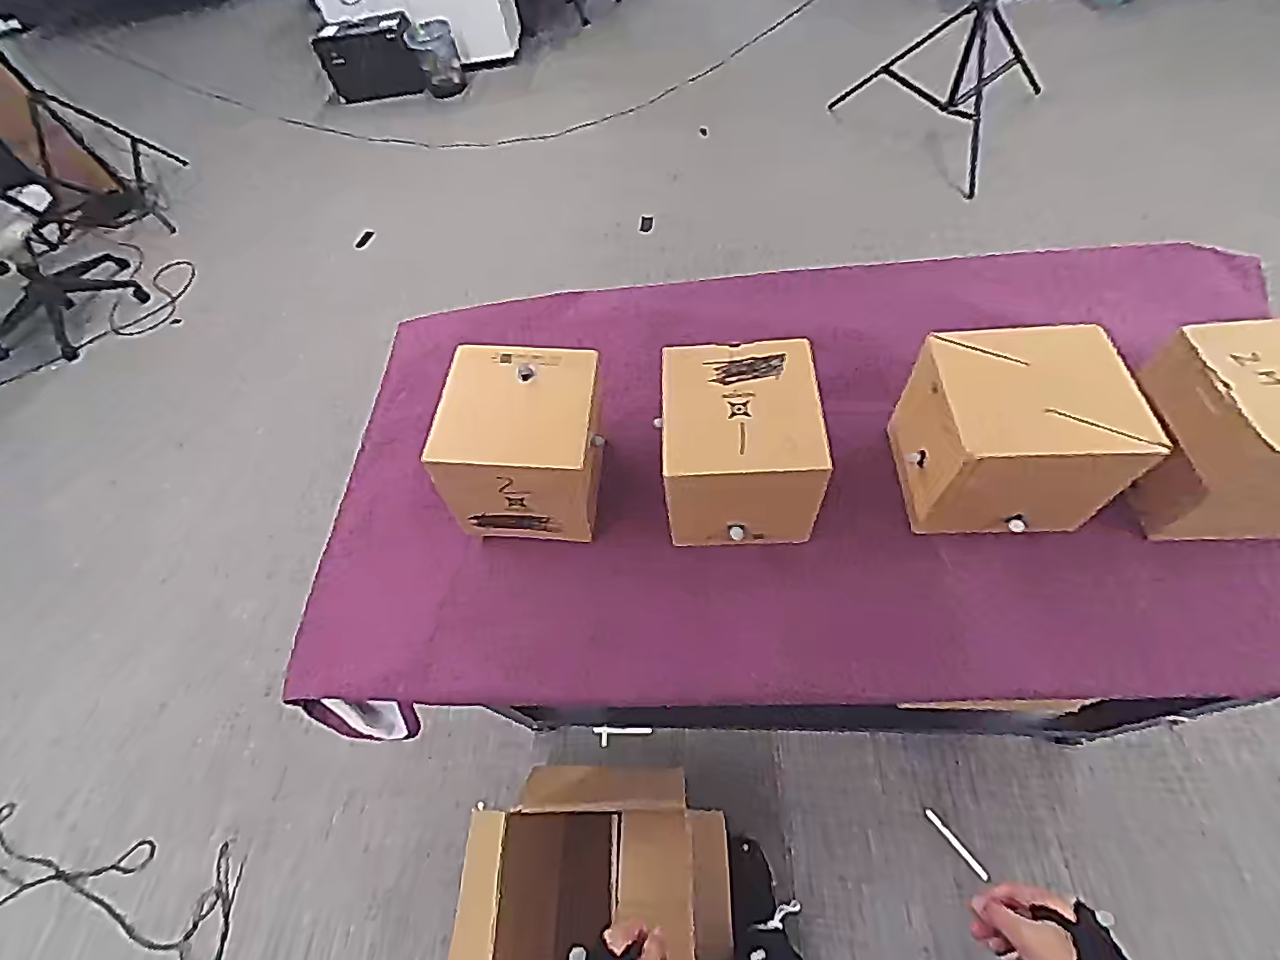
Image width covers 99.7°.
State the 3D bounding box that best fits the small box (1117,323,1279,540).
[{"bbox_3d":[0.648,-0.045,0.576,0.179,0.176,0.168,-1,56,7],"label":"small box"}]

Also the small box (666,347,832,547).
[{"bbox_3d":[0.118,-0.034,0.648,0.168,0.176,0.179,-3,58,7],"label":"small box"}]

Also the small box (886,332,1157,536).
[{"bbox_3d":[0.405,-0.048,0.611,0.179,0.176,0.168,-2,56,8],"label":"small box"}]
